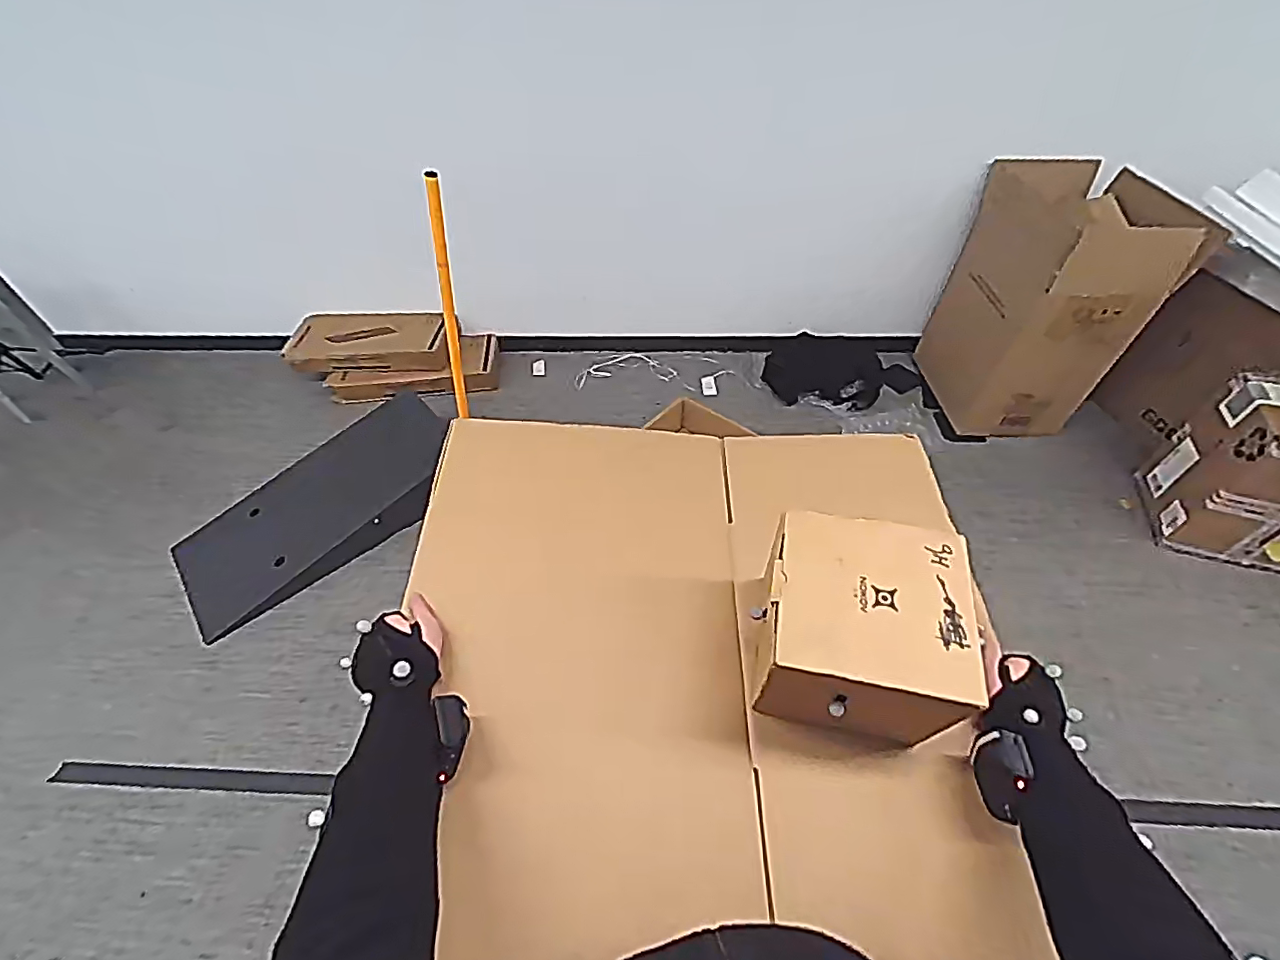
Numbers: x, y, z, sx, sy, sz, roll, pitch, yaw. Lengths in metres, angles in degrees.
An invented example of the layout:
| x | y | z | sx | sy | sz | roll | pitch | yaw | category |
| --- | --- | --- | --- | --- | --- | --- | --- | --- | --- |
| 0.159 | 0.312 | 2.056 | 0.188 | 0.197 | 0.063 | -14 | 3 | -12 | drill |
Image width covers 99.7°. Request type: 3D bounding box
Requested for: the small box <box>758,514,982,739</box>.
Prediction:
| x | y | z | sx | sy | sz | roll | pitch | yaw | category |
| --- | --- | --- | --- | --- | --- | --- | --- | --- | --- |
| 0.224 | 0.158 | 0.571 | 0.179 | 0.176 | 0.168 | 8 | 55 | 11 | small box |
